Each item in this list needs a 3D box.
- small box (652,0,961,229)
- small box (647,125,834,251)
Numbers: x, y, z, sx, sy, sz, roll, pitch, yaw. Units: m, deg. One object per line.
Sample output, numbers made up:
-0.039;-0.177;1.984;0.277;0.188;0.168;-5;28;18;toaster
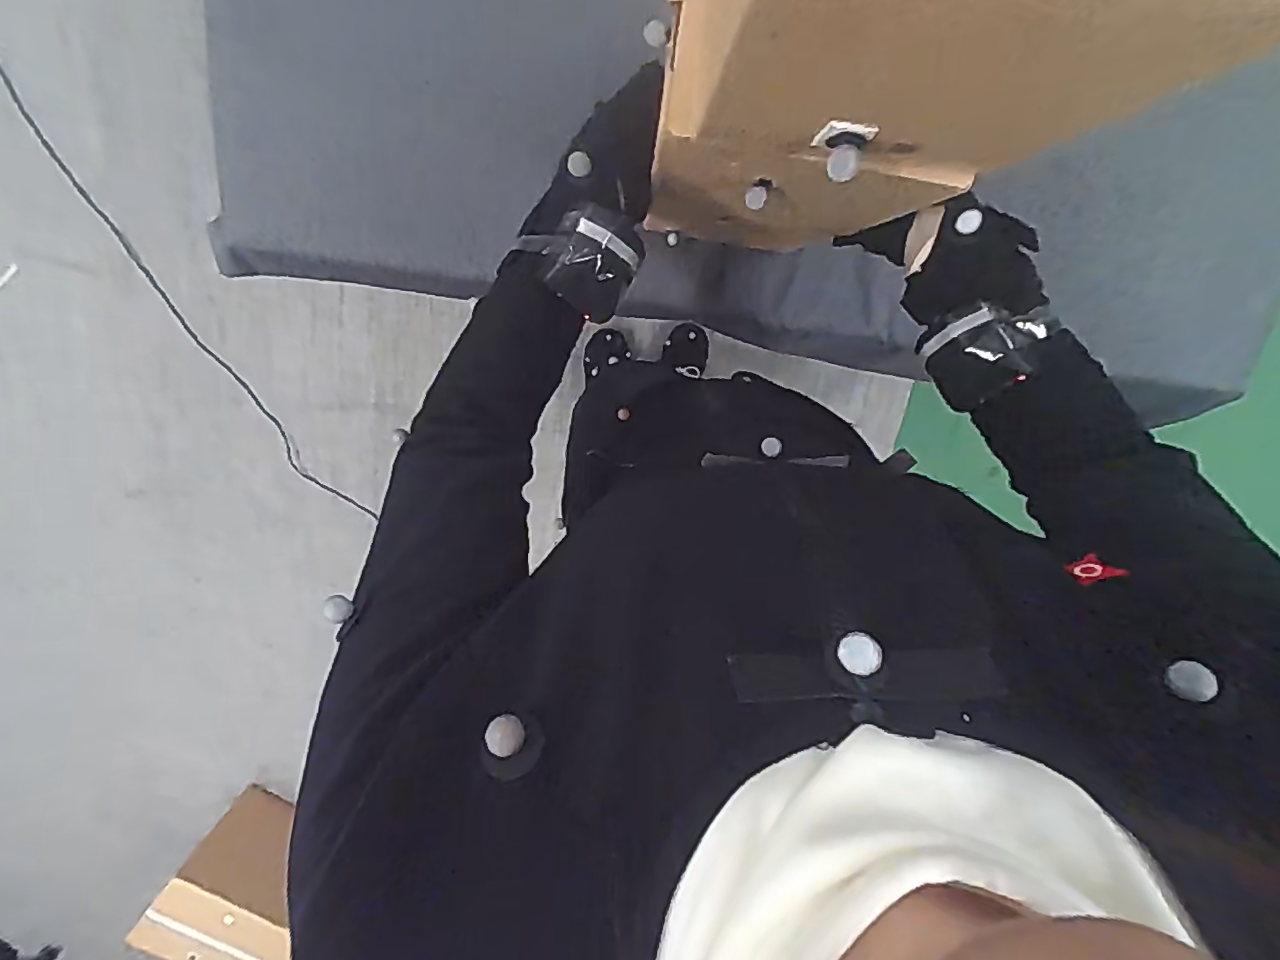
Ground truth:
0.103;-0.275;0.352;0.179;0.176;0.168;5;103;-3;small box
0.099;-0.324;0.506;0.168;0.176;0.179;7;105;-2;small box
